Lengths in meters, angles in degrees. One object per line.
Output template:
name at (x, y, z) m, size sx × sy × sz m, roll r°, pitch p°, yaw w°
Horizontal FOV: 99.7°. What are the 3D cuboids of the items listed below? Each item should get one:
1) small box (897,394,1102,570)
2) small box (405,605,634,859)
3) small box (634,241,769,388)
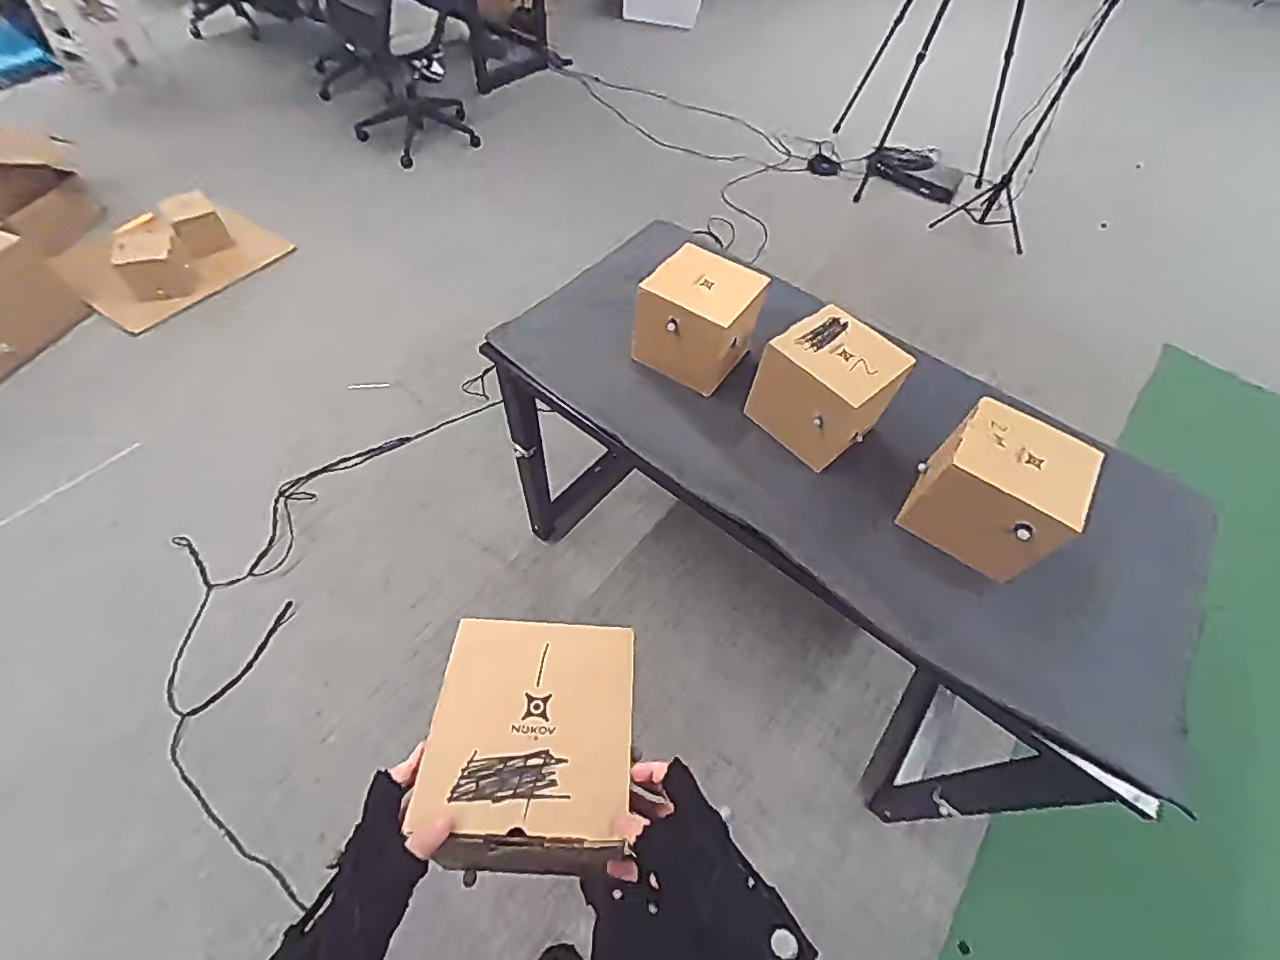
small box at (0.529, 0.012, 0.813) m, size 0.179 × 0.176 × 0.168 m, roll 33°, pitch 59°, yaw 17°
small box at (-0.095, 0.241, 0.511) m, size 0.168 × 0.176 × 0.179 m, roll 5°, pitch 46°, yaw -3°
small box at (0.106, -0.296, 0.991) m, size 0.179 × 0.176 × 0.168 m, roll 31°, pitch 59°, yaw 15°
